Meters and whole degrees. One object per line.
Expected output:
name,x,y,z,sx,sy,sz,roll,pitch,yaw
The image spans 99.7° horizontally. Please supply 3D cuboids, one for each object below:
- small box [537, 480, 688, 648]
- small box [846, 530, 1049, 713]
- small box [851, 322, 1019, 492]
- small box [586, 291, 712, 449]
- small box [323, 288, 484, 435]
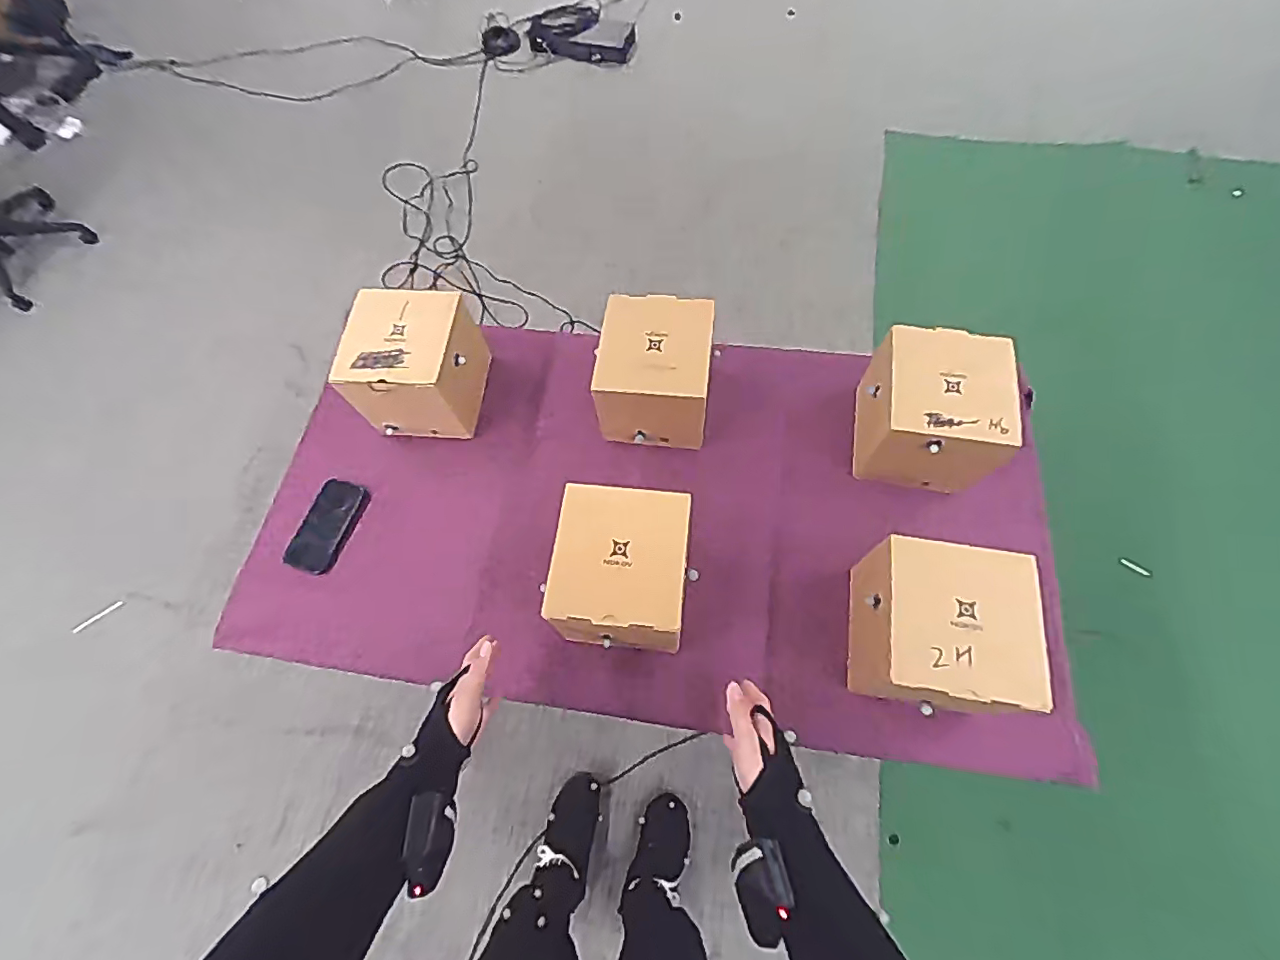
small box,-0.027,0.119,0.728,0.168,0.176,0.179,5,66,5
small box,0.364,0.182,0.675,0.168,0.176,0.179,8,67,8
small box,0.422,-0.103,0.802,0.168,0.176,0.179,9,67,8
small box,0.019,-0.169,0.854,0.168,0.176,0.179,6,67,6
small box,-0.369,-0.186,0.880,0.168,0.176,0.179,3,66,4
